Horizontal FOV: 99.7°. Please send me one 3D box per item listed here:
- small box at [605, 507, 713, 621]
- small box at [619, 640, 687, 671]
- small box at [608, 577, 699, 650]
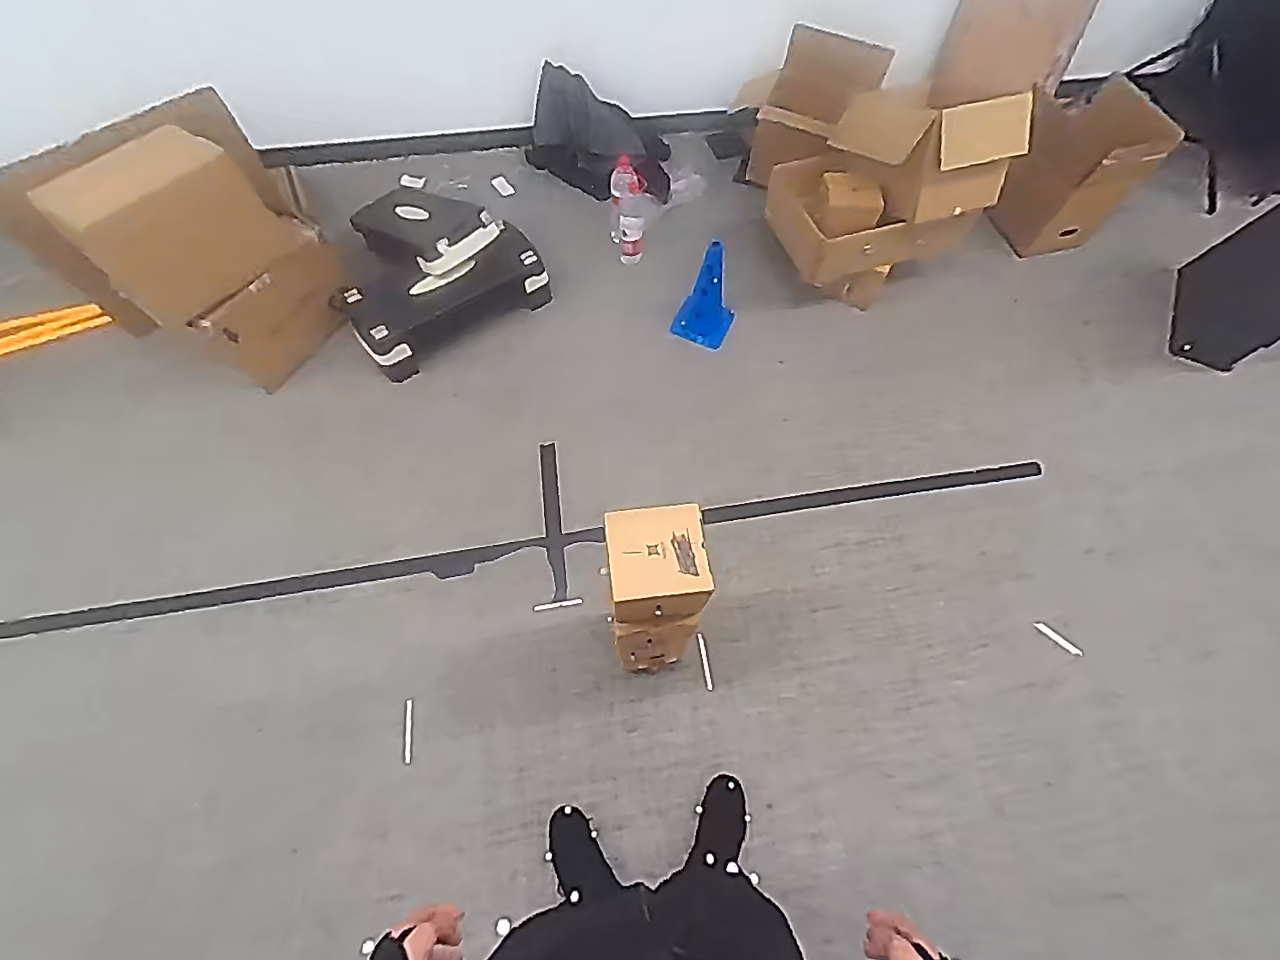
[{"bbox_3d":[0.028,0.163,1.020,0.179,0.176,0.168,-6,64,-4],"label":"small box"},{"bbox_3d":[0.021,0.400,1.451,0.168,0.176,0.179,-10,66,-6],"label":"small box"},{"bbox_3d":[0.021,0.252,1.159,0.168,0.176,0.179,-7,65,-5],"label":"small box"}]
